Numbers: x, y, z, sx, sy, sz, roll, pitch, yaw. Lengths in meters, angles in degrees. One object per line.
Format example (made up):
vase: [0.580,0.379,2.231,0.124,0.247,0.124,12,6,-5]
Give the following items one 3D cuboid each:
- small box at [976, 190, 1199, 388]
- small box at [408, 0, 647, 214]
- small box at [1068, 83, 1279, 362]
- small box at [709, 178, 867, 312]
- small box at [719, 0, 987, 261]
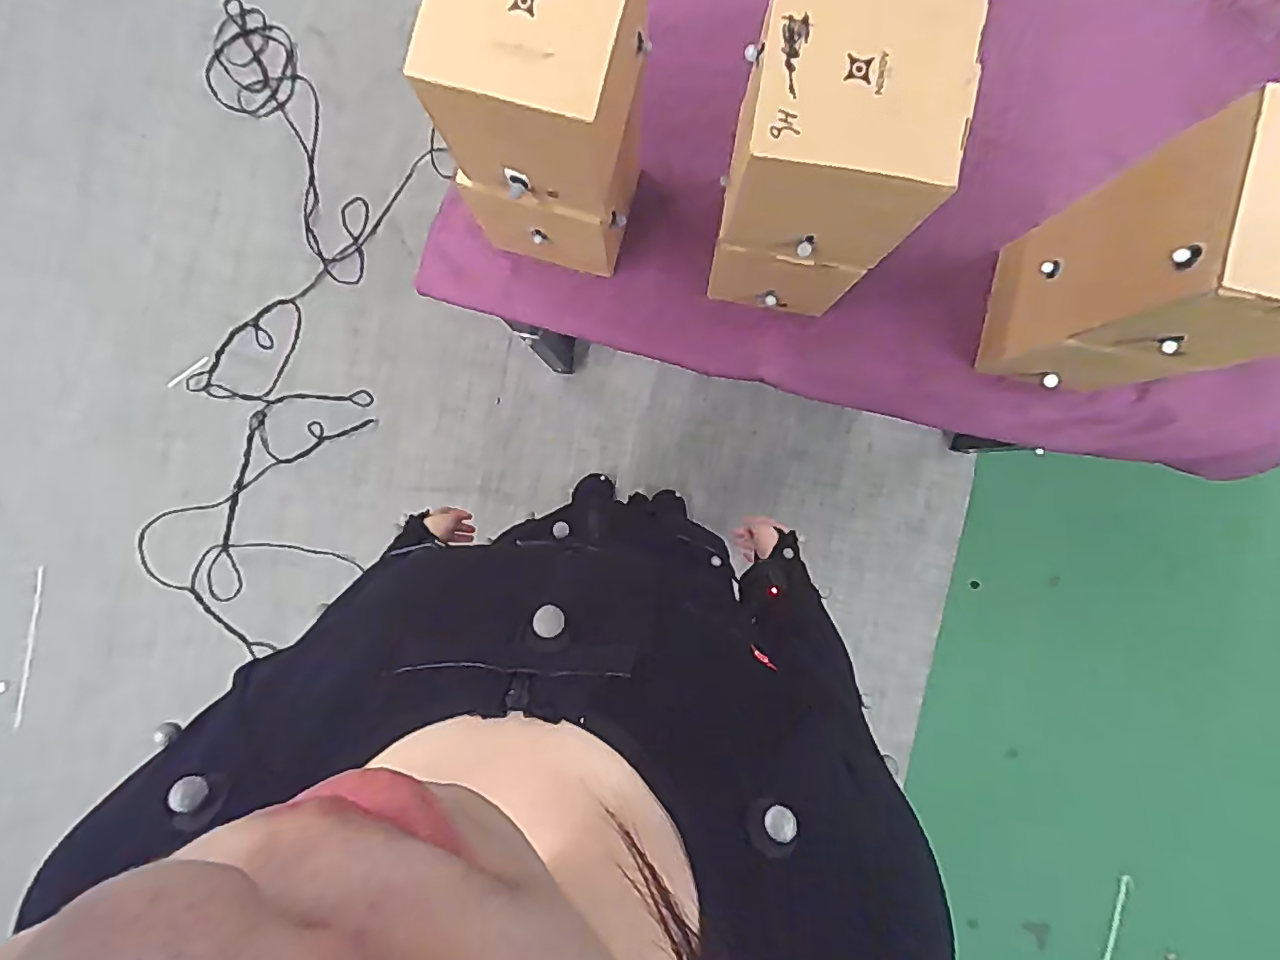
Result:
small box: [0.568,-0.228,0.689,0.168,0.176,0.179,12,92,0]
small box: [-0.091,-0.397,0.523,0.168,0.176,0.179,14,91,1]
small box: [0.569,-0.229,0.527,0.168,0.176,0.179,11,92,0]
small box: [0.188,-0.336,0.687,0.168,0.176,0.179,10,91,0]
small box: [0.186,-0.332,0.523,0.179,0.176,0.168,10,90,-1]
